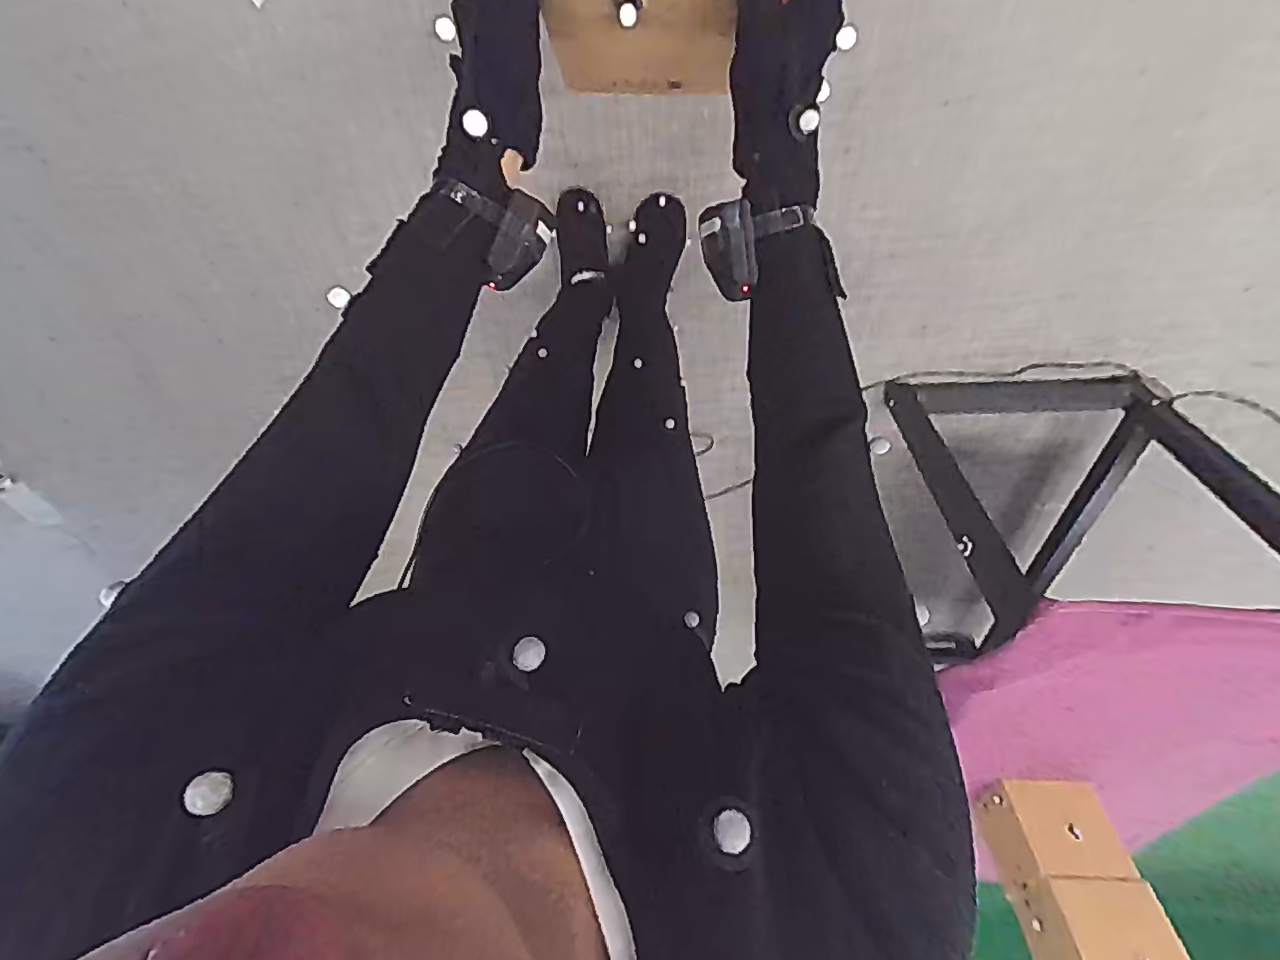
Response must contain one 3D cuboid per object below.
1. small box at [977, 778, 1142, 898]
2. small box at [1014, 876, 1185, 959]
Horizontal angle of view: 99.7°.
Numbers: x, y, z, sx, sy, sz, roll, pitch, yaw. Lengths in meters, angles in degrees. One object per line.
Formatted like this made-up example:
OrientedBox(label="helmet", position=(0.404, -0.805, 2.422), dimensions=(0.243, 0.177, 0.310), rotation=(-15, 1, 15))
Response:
OrientedBox(label="small box", position=(0.816, 0.714, 1.079), dimensions=(0.179, 0.176, 0.168), rotation=(0, 131, 4))
OrientedBox(label="small box", position=(0.814, 0.819, 0.952), dimensions=(0.179, 0.176, 0.168), rotation=(0, 130, 5))
